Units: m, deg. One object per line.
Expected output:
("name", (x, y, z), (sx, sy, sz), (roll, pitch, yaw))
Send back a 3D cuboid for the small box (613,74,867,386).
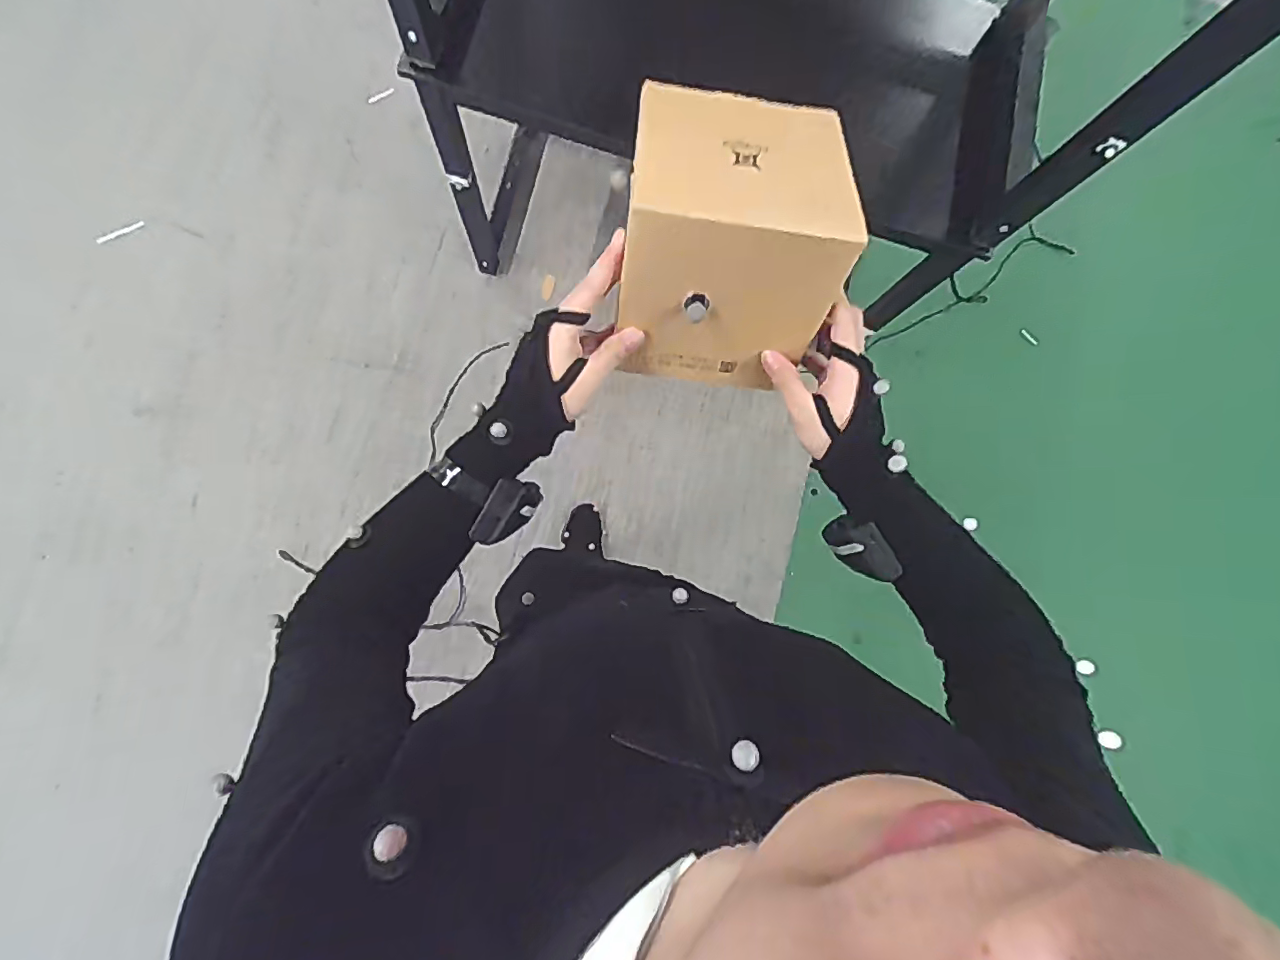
("small box", (0.068, -0.203, 0.465), (0.168, 0.176, 0.179), (6, 58, -4))
